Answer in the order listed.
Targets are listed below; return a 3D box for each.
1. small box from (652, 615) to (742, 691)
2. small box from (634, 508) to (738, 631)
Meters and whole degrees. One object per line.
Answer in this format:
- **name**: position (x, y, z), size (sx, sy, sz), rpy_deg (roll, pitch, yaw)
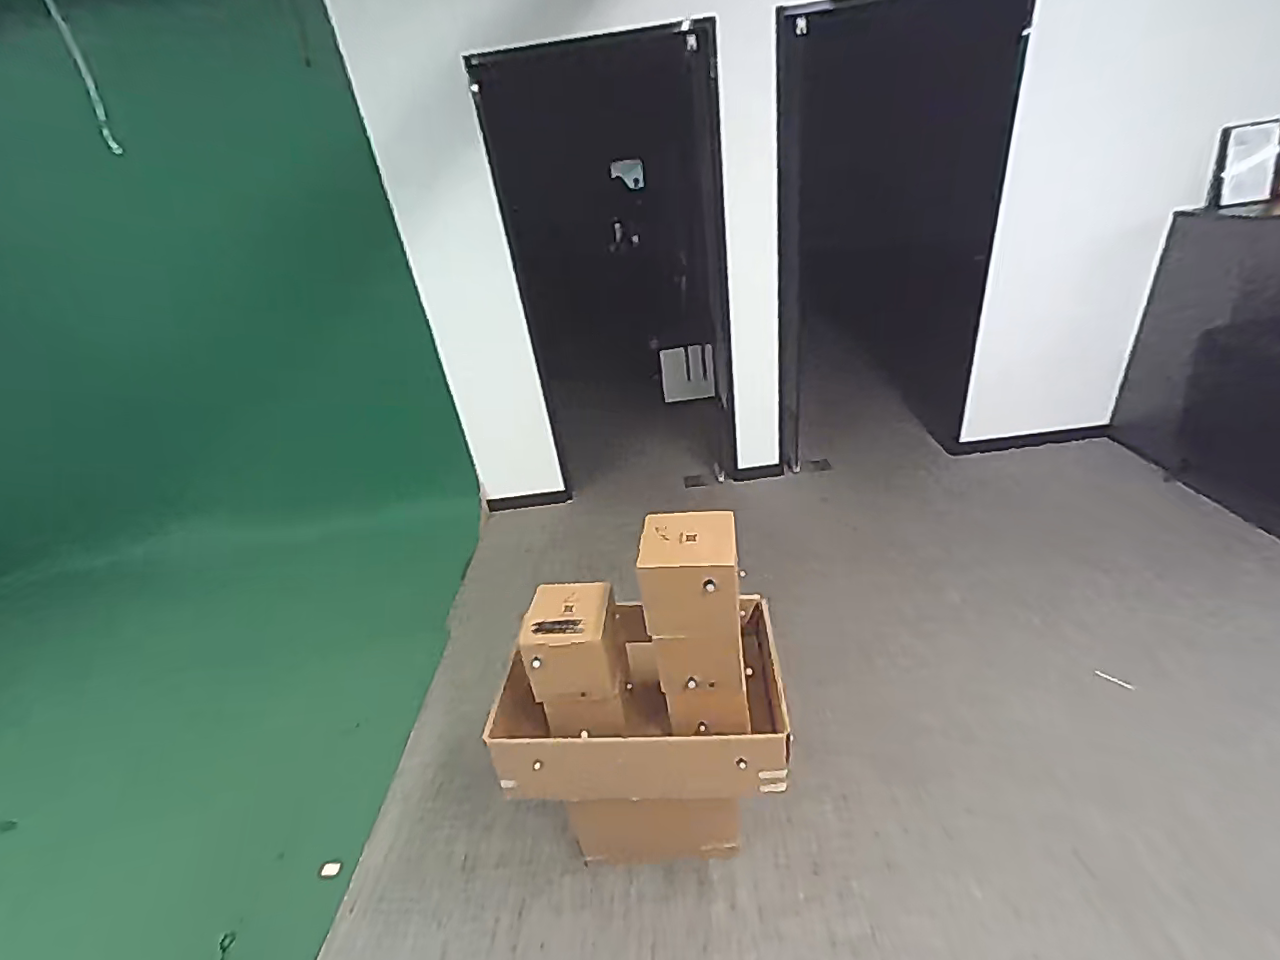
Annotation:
- **small box**: position (0.123, 0.311, 1.125), size (0.168, 0.176, 0.179), rpy_deg (-5, 31, 10)
- **small box**: position (0.097, 0.173, 1.038), size (0.179, 0.176, 0.168), rpy_deg (-5, 30, 12)
